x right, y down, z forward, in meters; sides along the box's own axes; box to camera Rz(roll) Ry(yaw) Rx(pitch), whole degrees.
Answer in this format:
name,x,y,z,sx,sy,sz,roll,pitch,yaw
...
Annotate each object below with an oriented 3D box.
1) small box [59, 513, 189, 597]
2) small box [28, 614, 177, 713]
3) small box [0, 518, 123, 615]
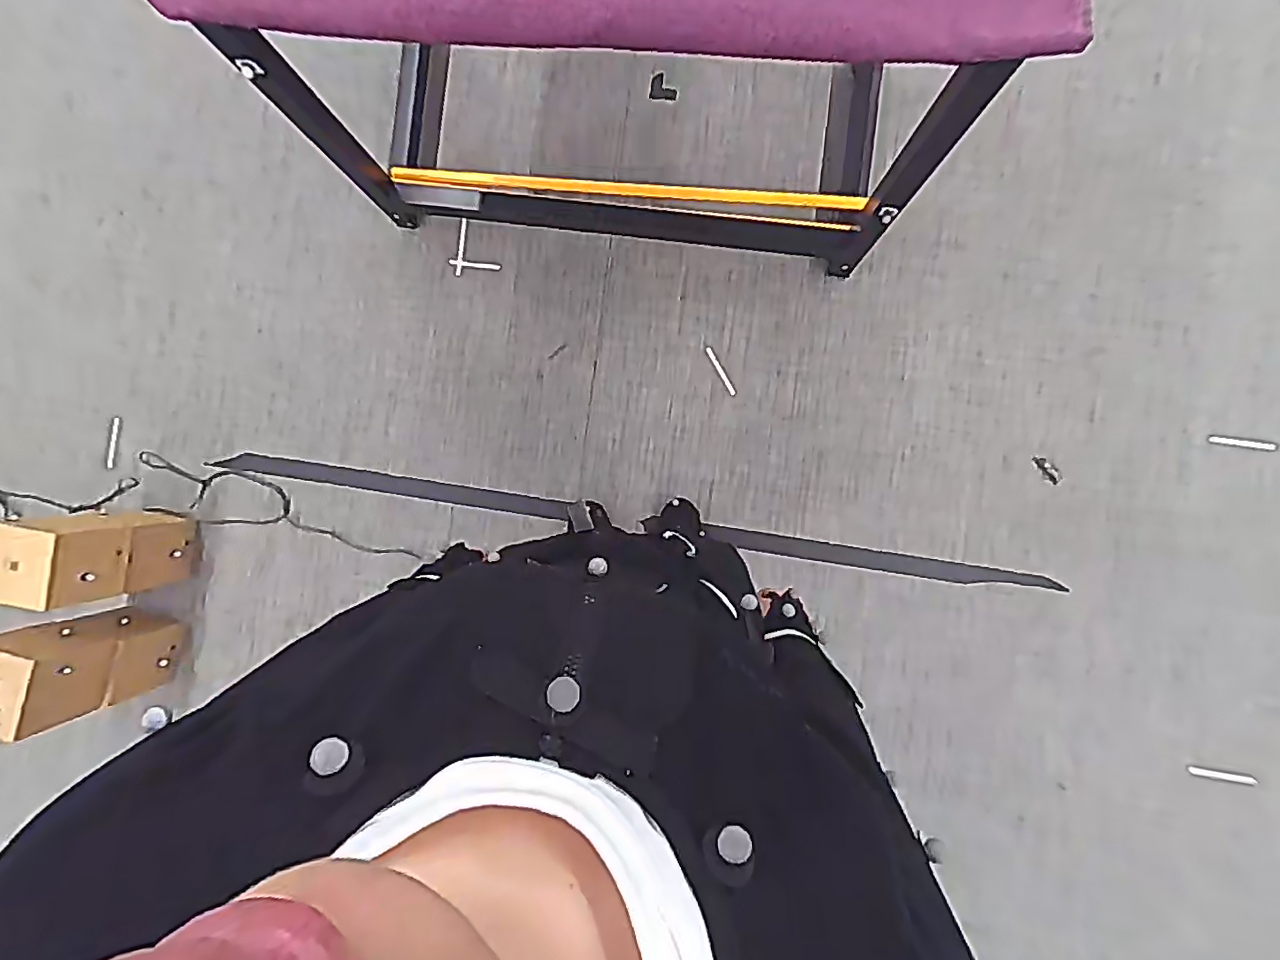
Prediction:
name,x,y,z,sx,sy,sz,roll,pitch,yaw
small box,-1.276,0.177,1.331,0.179,0.176,0.168,9,91,2
small box,-1.309,0.440,1.328,0.179,0.176,0.168,15,90,1
small box,-1.283,0.178,1.169,0.179,0.176,0.168,9,90,3
